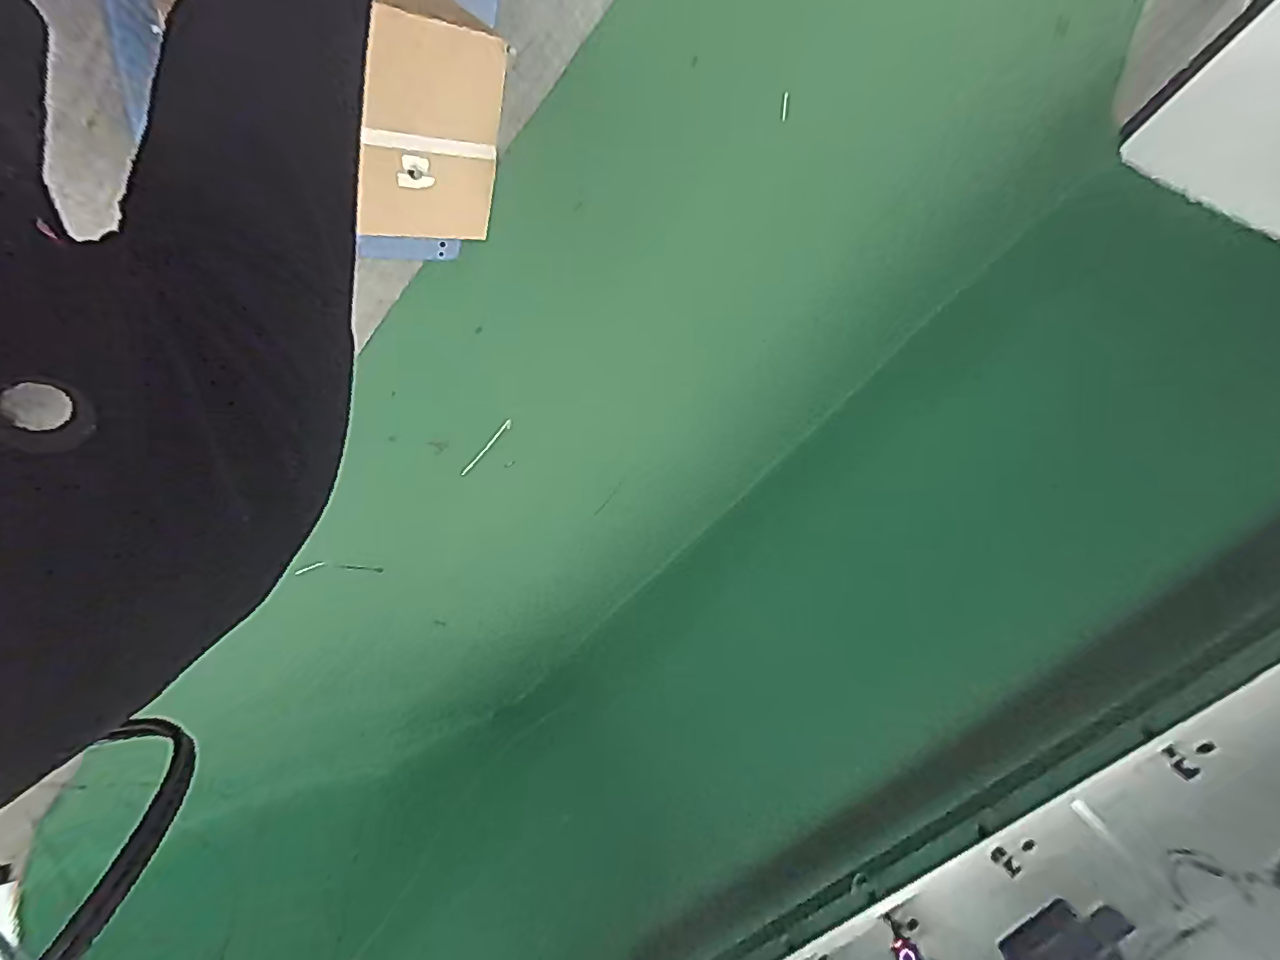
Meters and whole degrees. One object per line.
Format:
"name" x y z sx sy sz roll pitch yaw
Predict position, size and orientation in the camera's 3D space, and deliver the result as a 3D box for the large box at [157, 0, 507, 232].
"large box" -0.479 -0.620 0.861 0.408 0.320 0.320 -18 148 -36
